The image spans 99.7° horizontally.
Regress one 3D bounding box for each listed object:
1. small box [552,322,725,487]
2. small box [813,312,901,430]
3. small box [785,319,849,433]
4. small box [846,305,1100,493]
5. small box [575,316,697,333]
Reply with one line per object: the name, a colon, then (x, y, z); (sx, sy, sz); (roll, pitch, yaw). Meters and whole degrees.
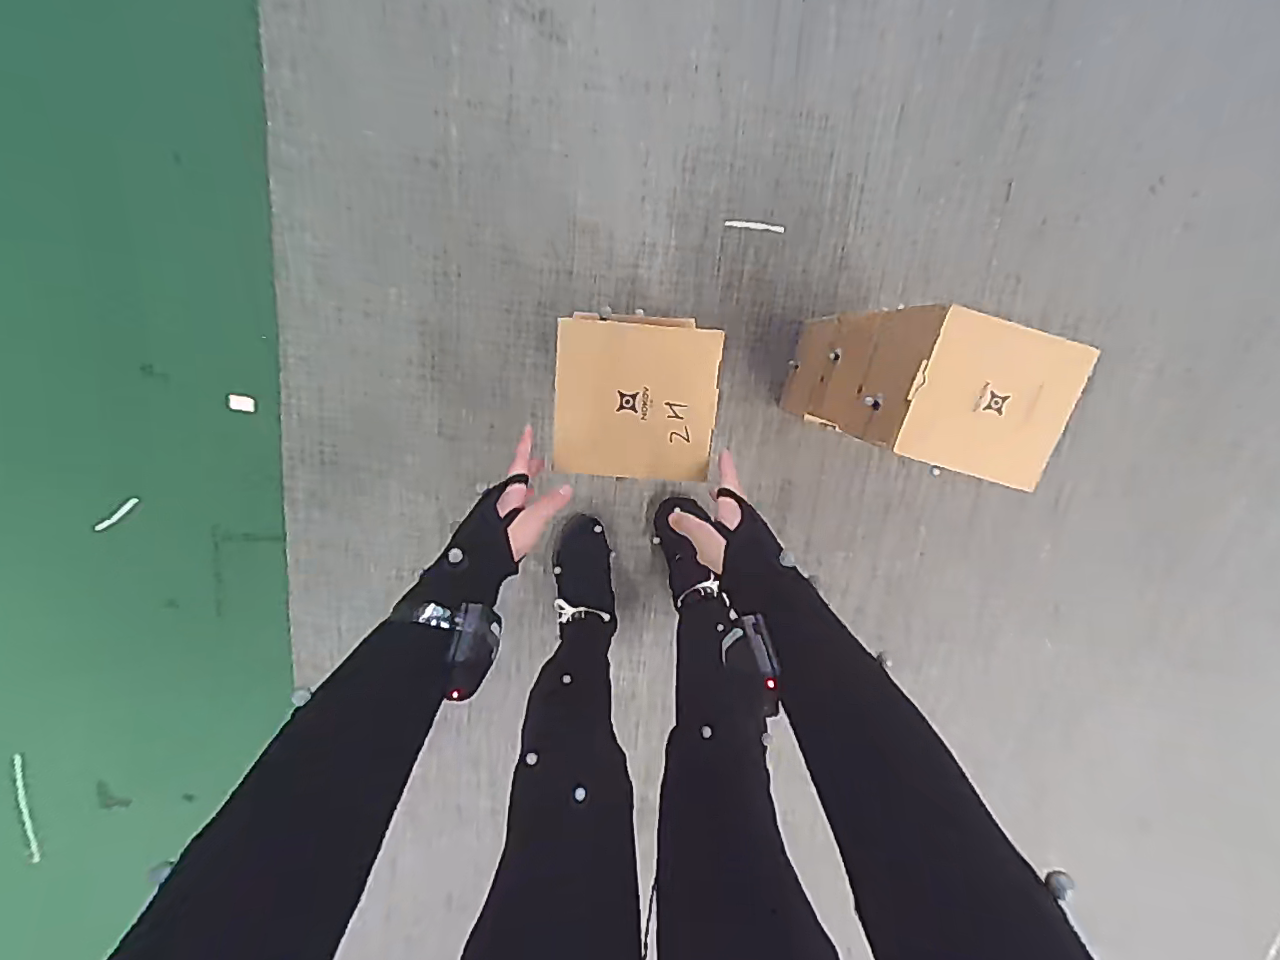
small box: (-0.004, -0.096, 0.657); (0.179, 0.176, 0.168); (4, 104, -2)
small box: (0.387, -0.150, 0.814); (0.179, 0.176, 0.168); (11, 104, -2)
small box: (0.376, -0.183, 0.973); (0.168, 0.176, 0.179); (12, 105, -4)
small box: (0.380, -0.102, 0.659); (0.179, 0.176, 0.168); (15, 104, -4)
small box: (-0.010, -0.147, 0.814); (0.168, 0.176, 0.179); (3, 103, -1)
